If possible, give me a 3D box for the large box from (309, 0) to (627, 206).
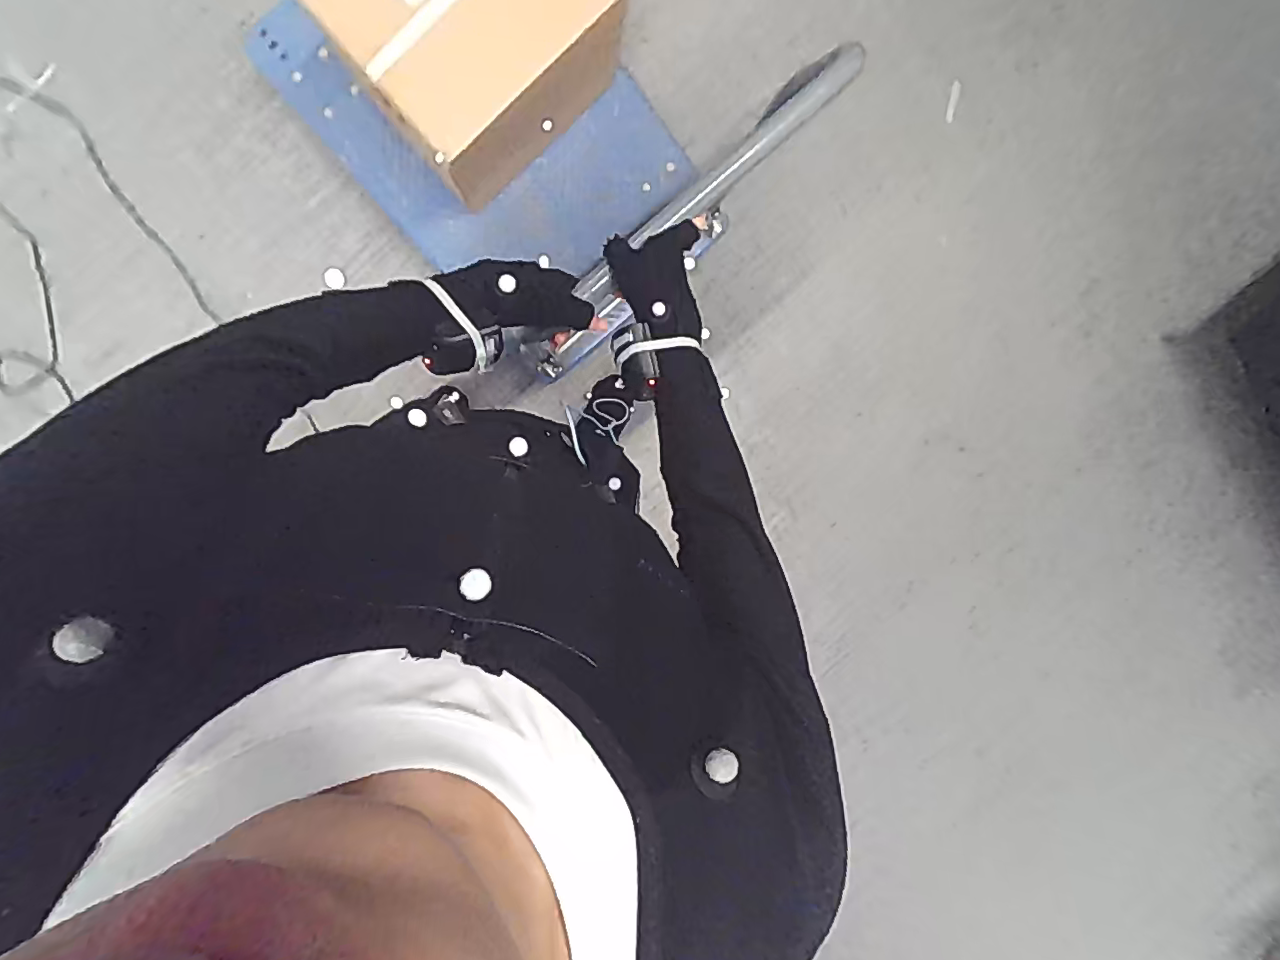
[{"bbox_3d":[-0.275,-0.787,0.964,0.408,0.320,0.320,-42,104,3],"label":"large box"}]
